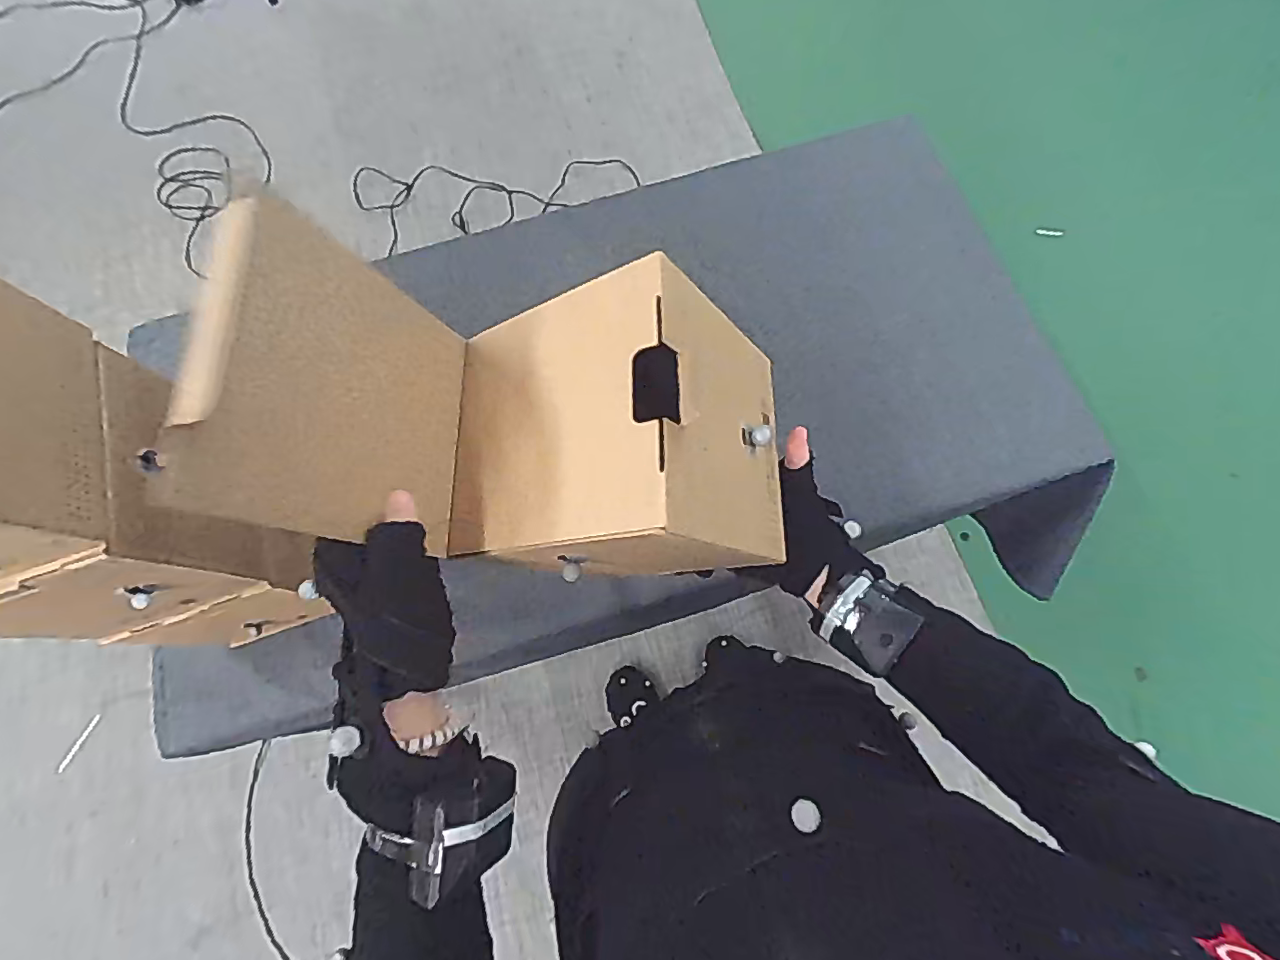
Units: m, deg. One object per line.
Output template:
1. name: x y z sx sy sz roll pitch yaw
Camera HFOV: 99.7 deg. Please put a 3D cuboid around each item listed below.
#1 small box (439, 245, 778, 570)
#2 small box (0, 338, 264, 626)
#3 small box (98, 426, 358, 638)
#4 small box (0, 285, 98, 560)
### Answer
1. small box: -0.016 -0.026 0.395 0.179 0.176 0.168 -10 72 33
2. small box: -0.454 0.017 0.454 0.168 0.176 0.179 -18 73 -4
3. small box: -0.449 0.068 0.609 0.168 0.176 0.179 -19 74 -4
4. small box: -0.460 -0.037 0.300 0.168 0.176 0.179 -19 73 -5
